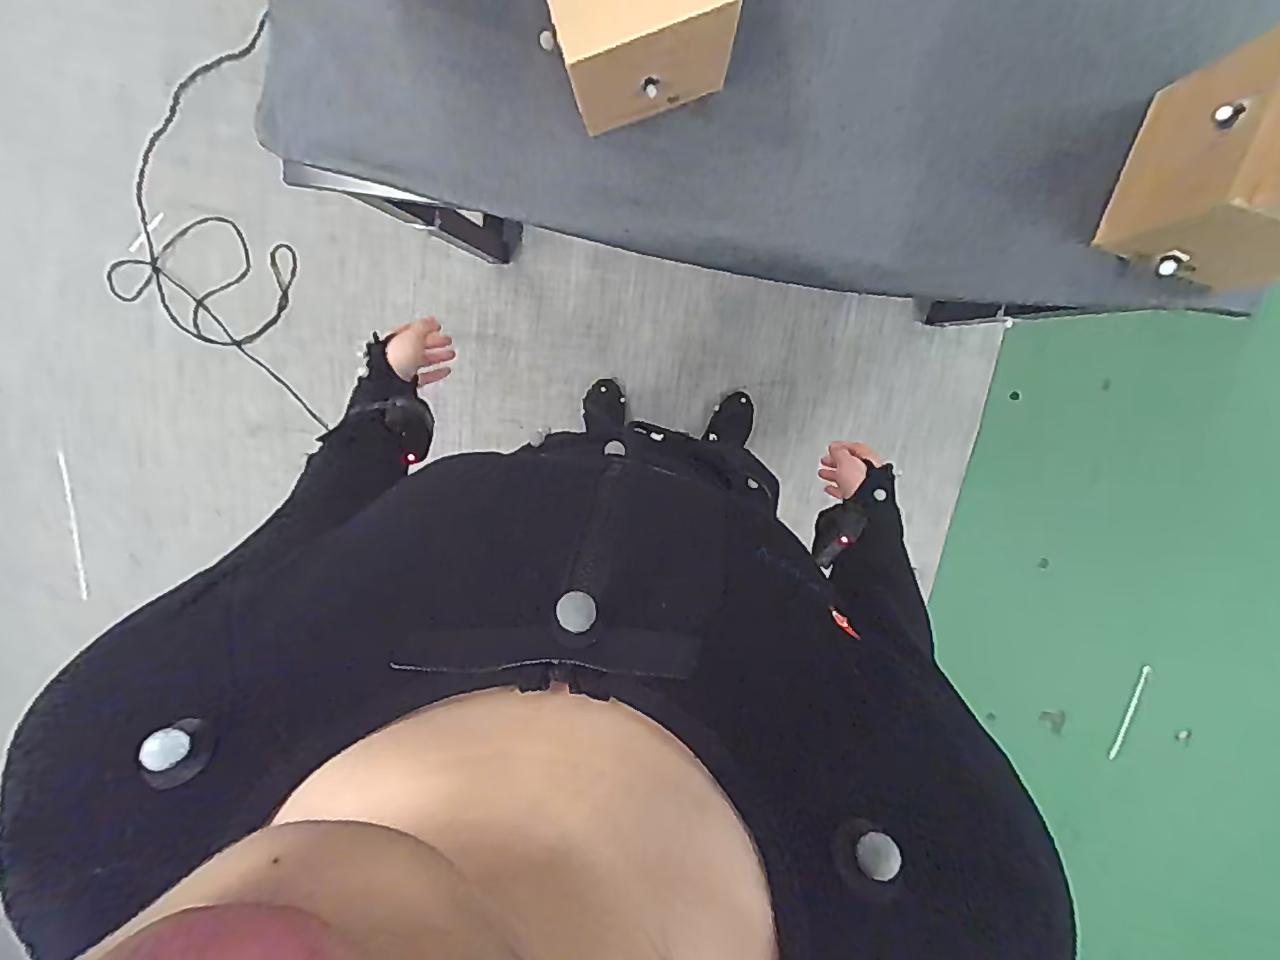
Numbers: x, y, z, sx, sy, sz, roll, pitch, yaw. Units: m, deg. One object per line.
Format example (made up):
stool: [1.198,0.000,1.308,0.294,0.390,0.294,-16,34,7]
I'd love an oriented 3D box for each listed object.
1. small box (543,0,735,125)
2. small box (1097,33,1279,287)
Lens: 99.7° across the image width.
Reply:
small box: [-0.012,-0.491,0.542,0.168,0.176,0.179,-16,102,6]
small box: [0.629,-0.316,0.548,0.168,0.176,0.179,17,101,0]
